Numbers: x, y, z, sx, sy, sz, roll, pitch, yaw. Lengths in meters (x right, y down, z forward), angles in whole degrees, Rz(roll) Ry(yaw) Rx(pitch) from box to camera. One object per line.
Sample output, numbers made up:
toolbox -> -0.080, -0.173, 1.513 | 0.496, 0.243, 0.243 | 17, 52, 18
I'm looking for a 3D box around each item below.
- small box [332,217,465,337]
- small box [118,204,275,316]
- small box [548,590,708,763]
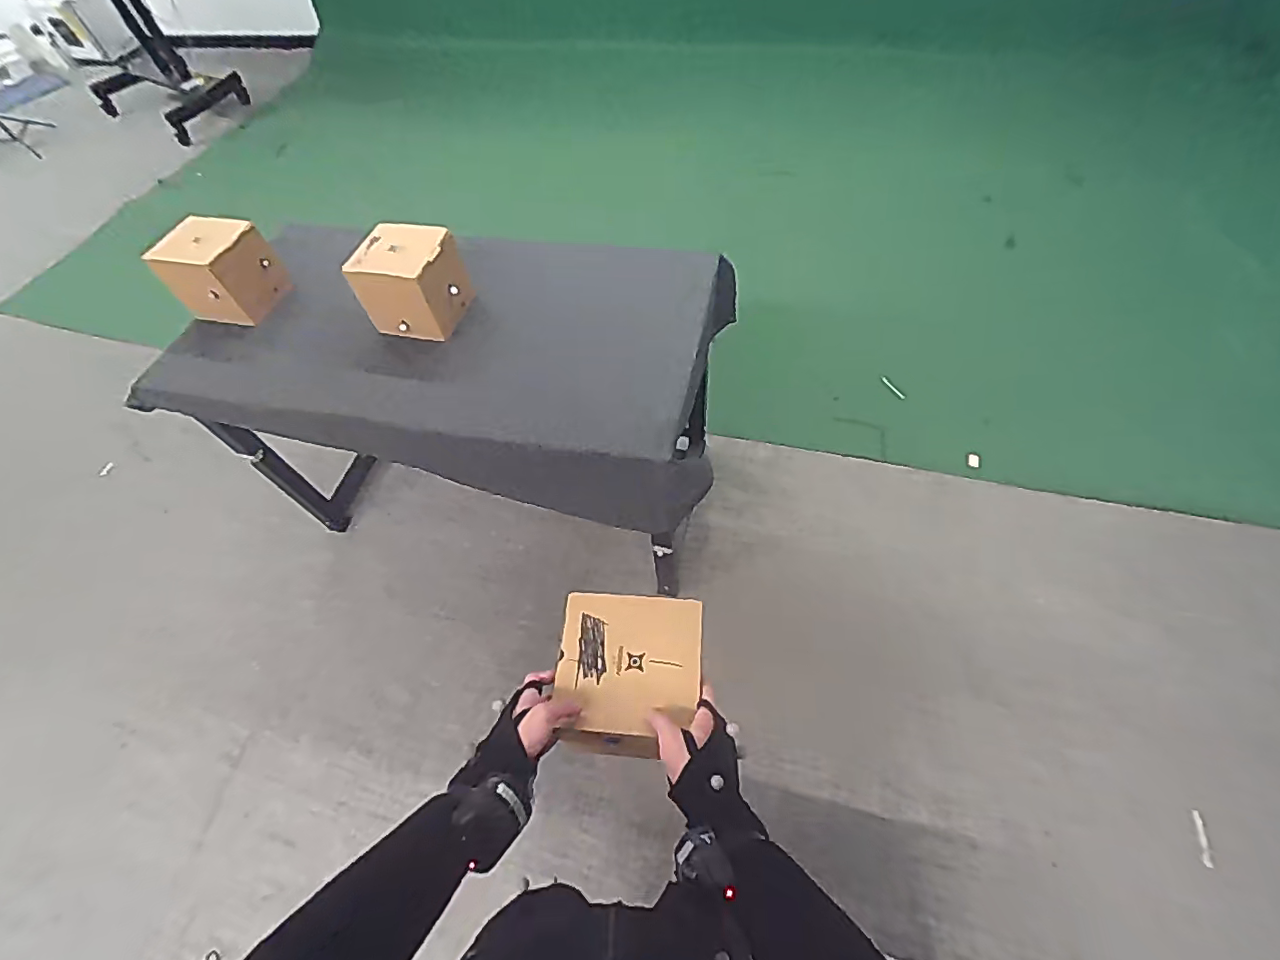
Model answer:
small box -> -0.502, -0.429, 1.156 | 0.179, 0.176, 0.168 | 11, 57, 9
small box -> -0.976, -0.489, 1.213 | 0.179, 0.176, 0.168 | 9, 56, 9
small box -> -0.007, 0.256, 0.695 | 0.179, 0.176, 0.168 | 4, 55, 3
